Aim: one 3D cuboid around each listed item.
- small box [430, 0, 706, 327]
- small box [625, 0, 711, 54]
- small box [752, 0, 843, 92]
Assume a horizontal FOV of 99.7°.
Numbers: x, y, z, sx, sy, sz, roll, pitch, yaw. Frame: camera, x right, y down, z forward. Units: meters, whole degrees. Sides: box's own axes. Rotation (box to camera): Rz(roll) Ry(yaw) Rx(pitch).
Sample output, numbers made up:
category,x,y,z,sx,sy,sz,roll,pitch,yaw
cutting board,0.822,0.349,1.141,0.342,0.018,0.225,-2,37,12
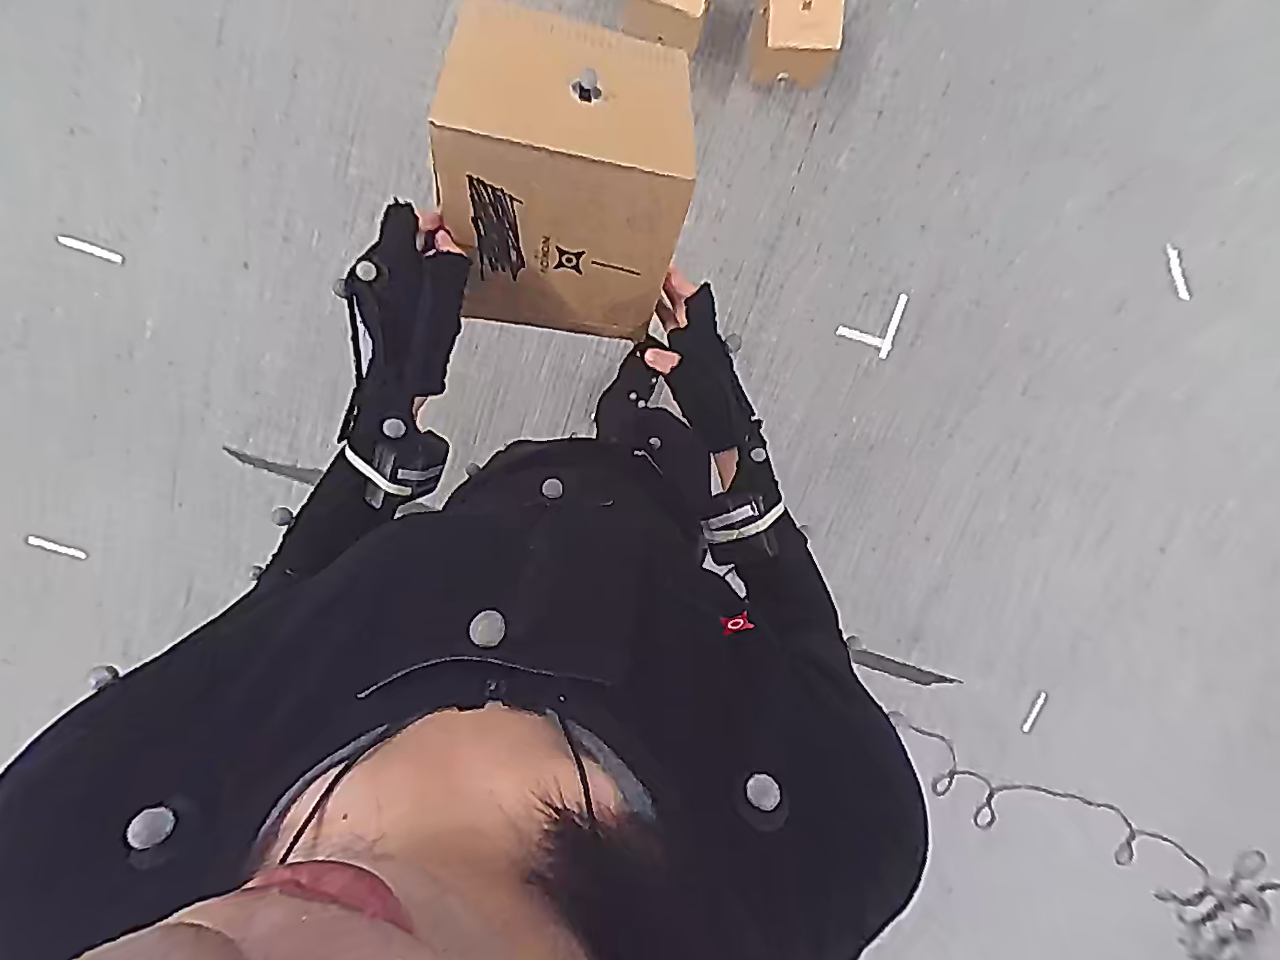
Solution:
category,x,y,z,sx,sy,sz,roll,pitch,yaw
small box,-0.060,-0.257,0.442,0.179,0.168,0.176,5,62,-12
small box,0.072,-1.115,1.241,0.179,0.176,0.168,17,98,-5
small box,0.362,-1.051,1.263,0.168,0.176,0.179,0,100,-1
